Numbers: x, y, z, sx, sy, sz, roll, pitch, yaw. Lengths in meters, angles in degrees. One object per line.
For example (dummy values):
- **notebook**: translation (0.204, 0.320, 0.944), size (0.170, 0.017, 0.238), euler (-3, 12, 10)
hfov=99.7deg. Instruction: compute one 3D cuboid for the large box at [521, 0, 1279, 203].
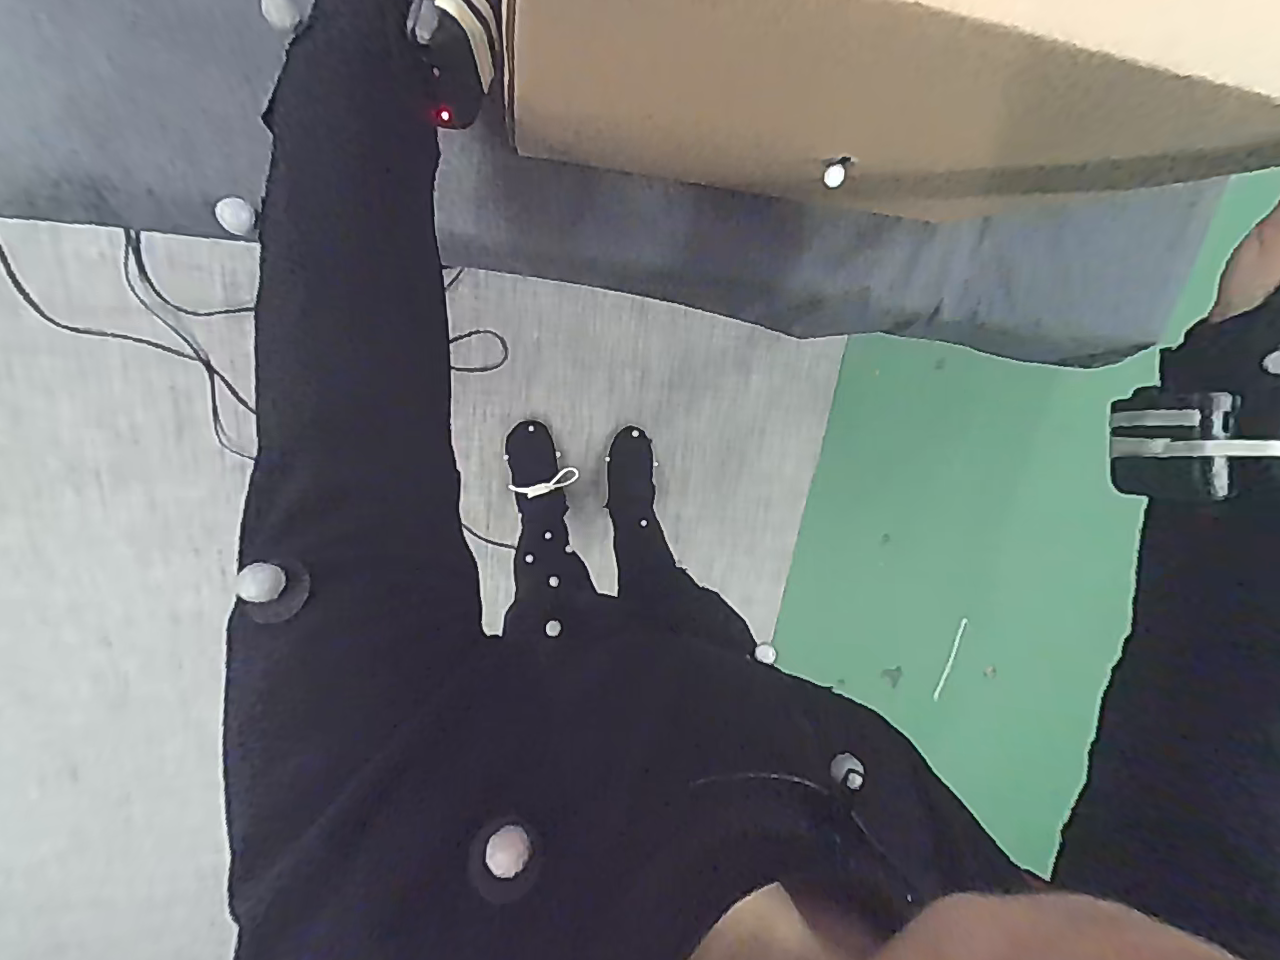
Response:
- **large box**: translation (0.142, -0.360, 0.302), size (0.408, 0.320, 0.320), euler (1, 109, -12)
